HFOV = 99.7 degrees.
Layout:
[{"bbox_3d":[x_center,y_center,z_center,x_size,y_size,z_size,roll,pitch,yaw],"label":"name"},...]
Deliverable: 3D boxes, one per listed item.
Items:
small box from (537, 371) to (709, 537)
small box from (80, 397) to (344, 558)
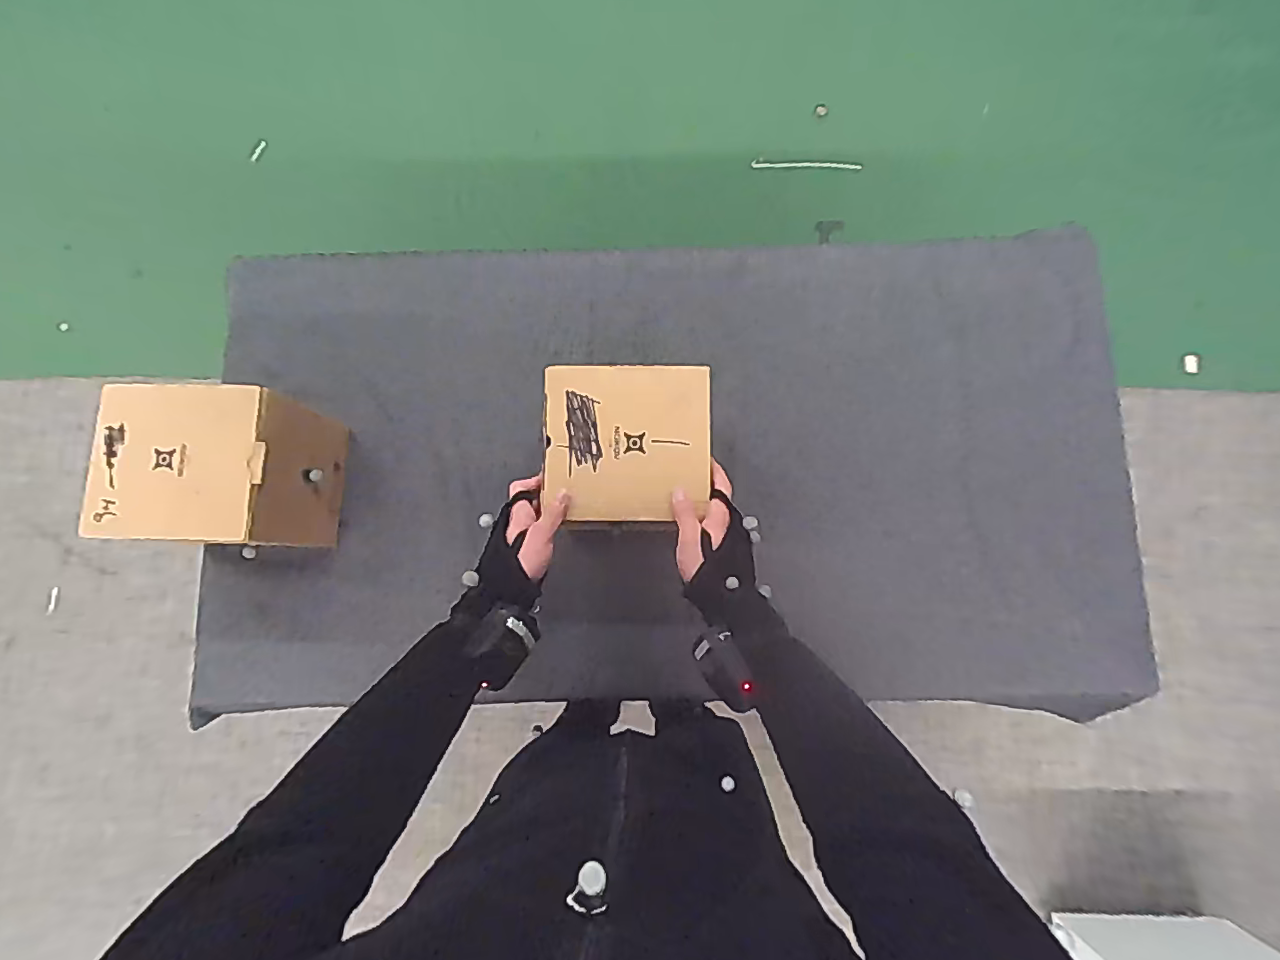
[{"bbox_3d":[-0.015,-0.020,0.633,0.179,0.176,0.168,0,81,0],"label":"small box"},{"bbox_3d":[-0.481,0.006,0.640,0.179,0.176,0.168,1,81,0],"label":"small box"}]
